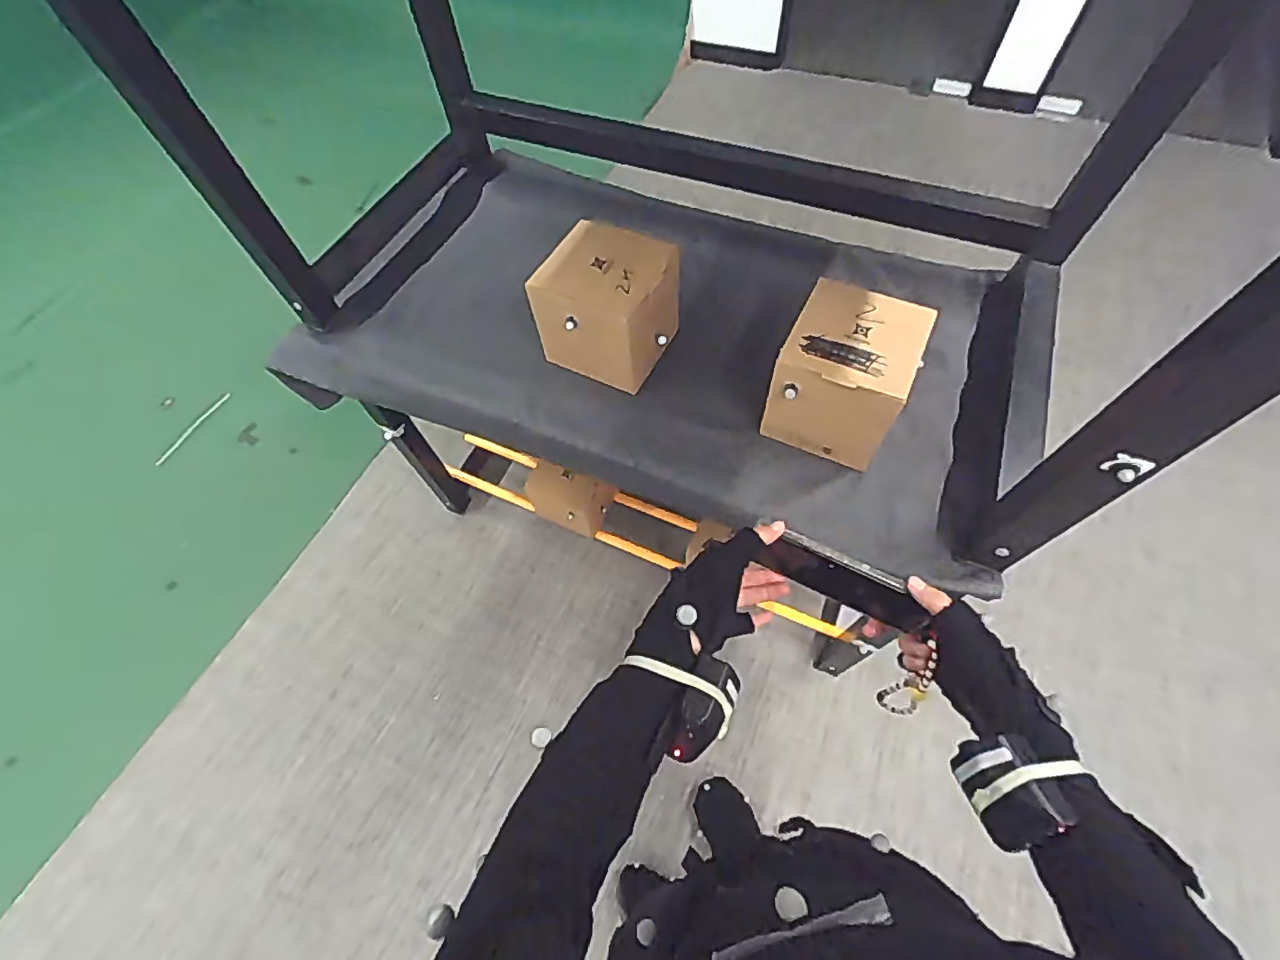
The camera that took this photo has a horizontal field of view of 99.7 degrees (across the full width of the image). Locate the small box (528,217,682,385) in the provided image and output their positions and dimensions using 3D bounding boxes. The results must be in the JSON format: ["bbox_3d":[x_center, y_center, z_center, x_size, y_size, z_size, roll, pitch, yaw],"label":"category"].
[{"bbox_3d":[-0.046,-0.279,0.862,0.179,0.176,0.168,23,65,16],"label":"small box"}]

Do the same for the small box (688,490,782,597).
[{"bbox_3d":[0.226,0.161,1.314,0.168,0.176,0.179,24,65,16],"label":"small box"}]
